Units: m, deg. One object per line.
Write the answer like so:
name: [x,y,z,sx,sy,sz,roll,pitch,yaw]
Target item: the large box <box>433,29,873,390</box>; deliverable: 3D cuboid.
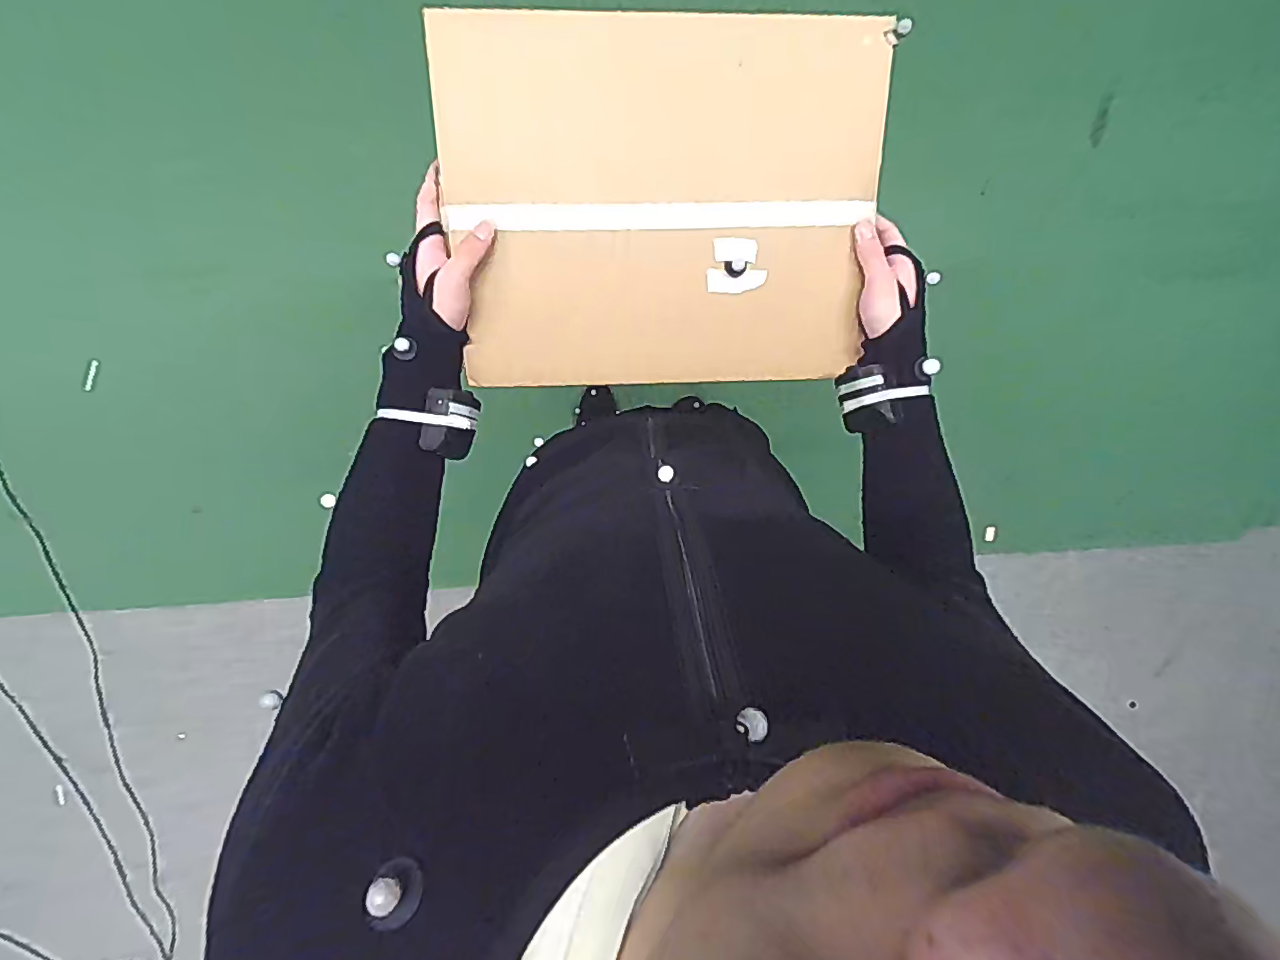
large box: [0.008,-0.293,0.664,0.408,0.320,0.320,-3,108,-5]
